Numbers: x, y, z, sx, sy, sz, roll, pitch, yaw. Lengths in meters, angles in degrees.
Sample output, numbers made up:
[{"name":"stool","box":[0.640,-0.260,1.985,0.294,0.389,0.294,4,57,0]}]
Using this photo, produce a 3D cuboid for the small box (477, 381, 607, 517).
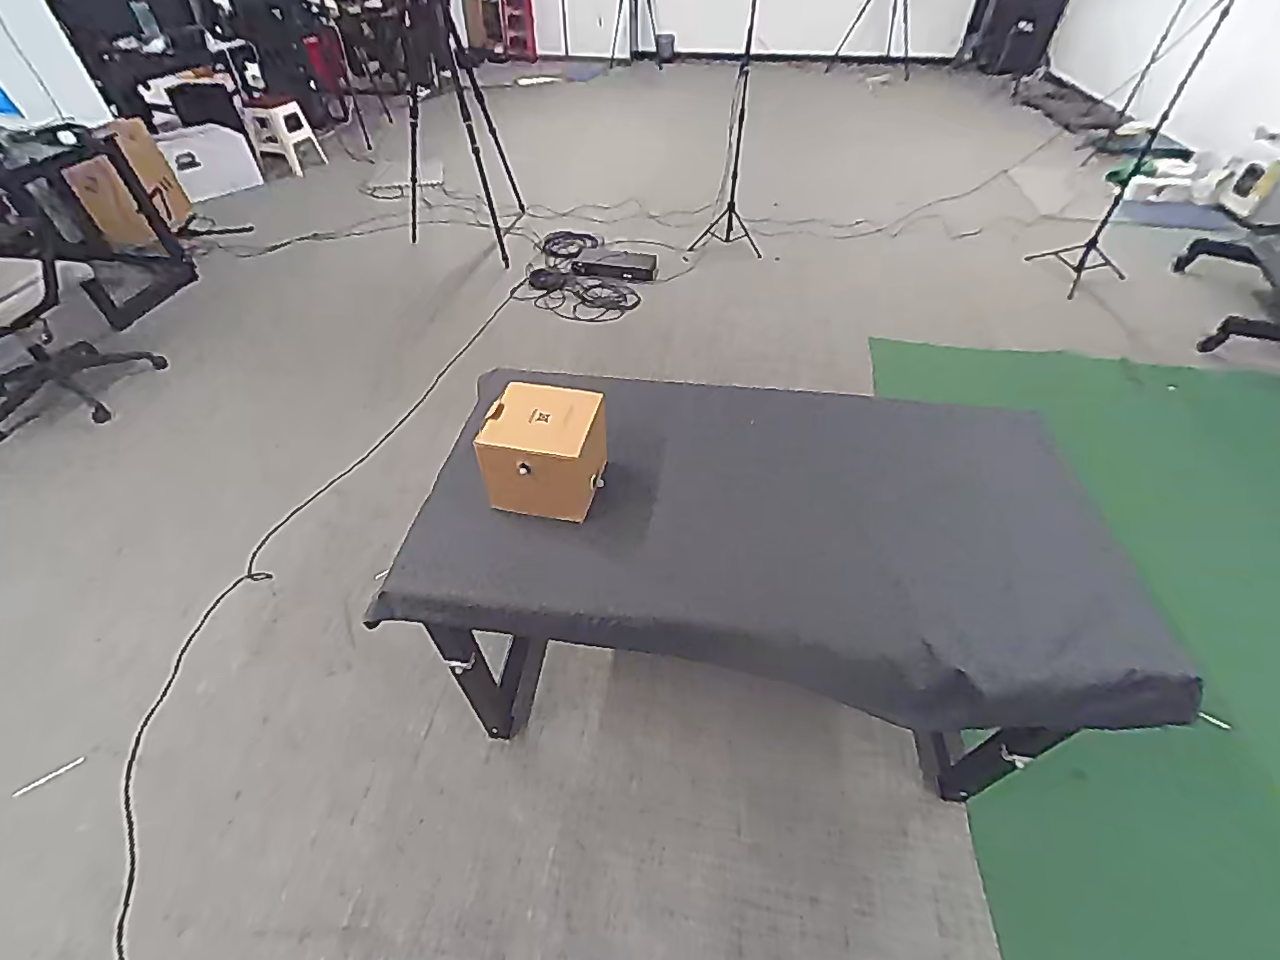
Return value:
[{"name":"small box","box":[-0.163,-0.053,0.963,0.179,0.176,0.168,9,49,7]}]
